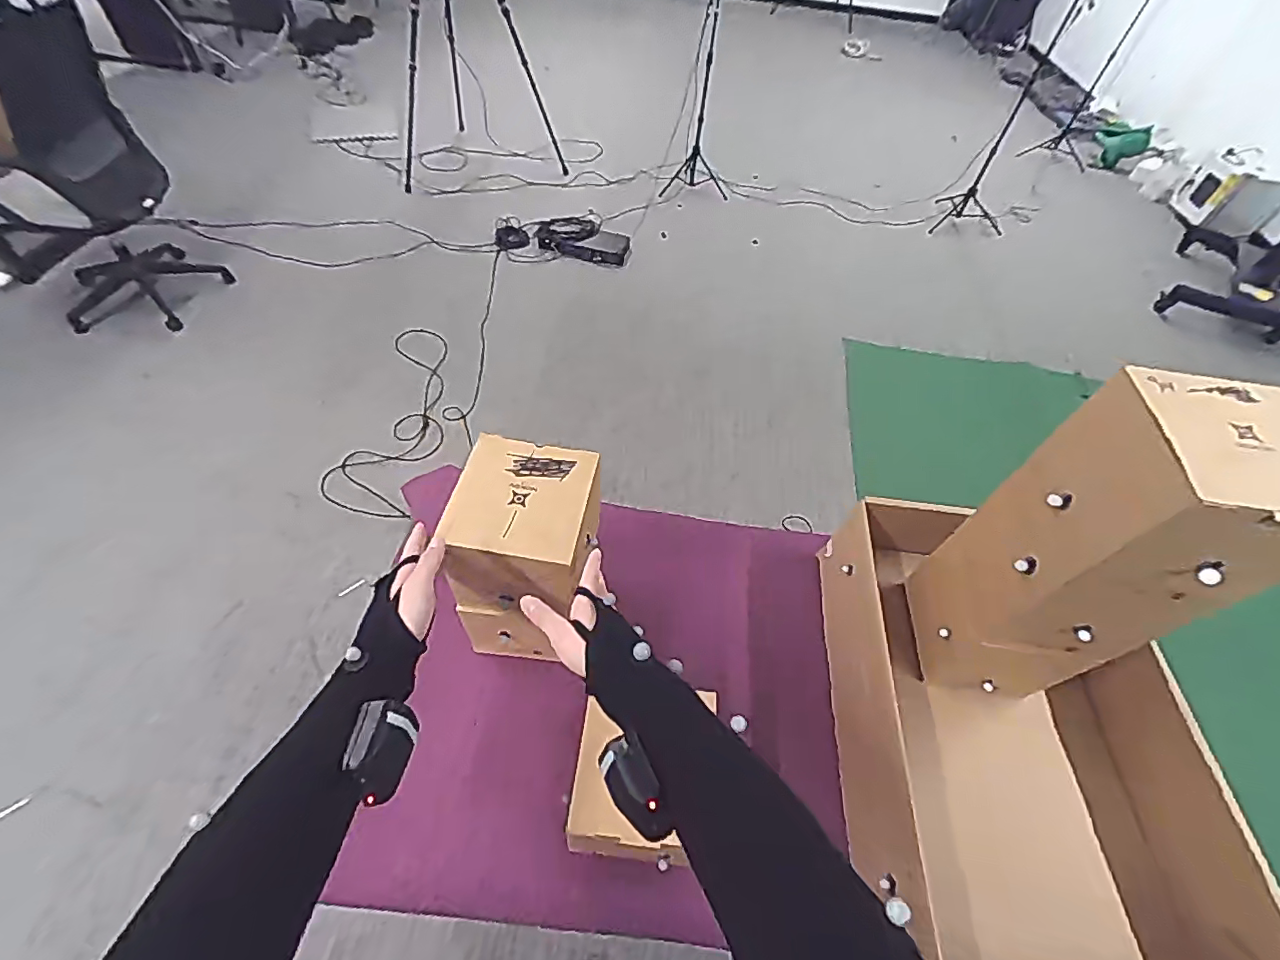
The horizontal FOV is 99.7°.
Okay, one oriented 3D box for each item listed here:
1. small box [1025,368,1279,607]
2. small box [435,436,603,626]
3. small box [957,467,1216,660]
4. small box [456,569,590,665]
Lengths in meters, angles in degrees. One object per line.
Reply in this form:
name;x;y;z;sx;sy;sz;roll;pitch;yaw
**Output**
small box;0.552;0.013;0.564;0.168;0.176;0.179;9;53;2
small box;-0.150;0.071;0.728;0.168;0.176;0.179;10;51;2
small box;0.545;0.112;0.695;0.168;0.176;0.179;9;52;2
small box;-0.170;0.175;0.854;0.168;0.176;0.179;6;50;-1
